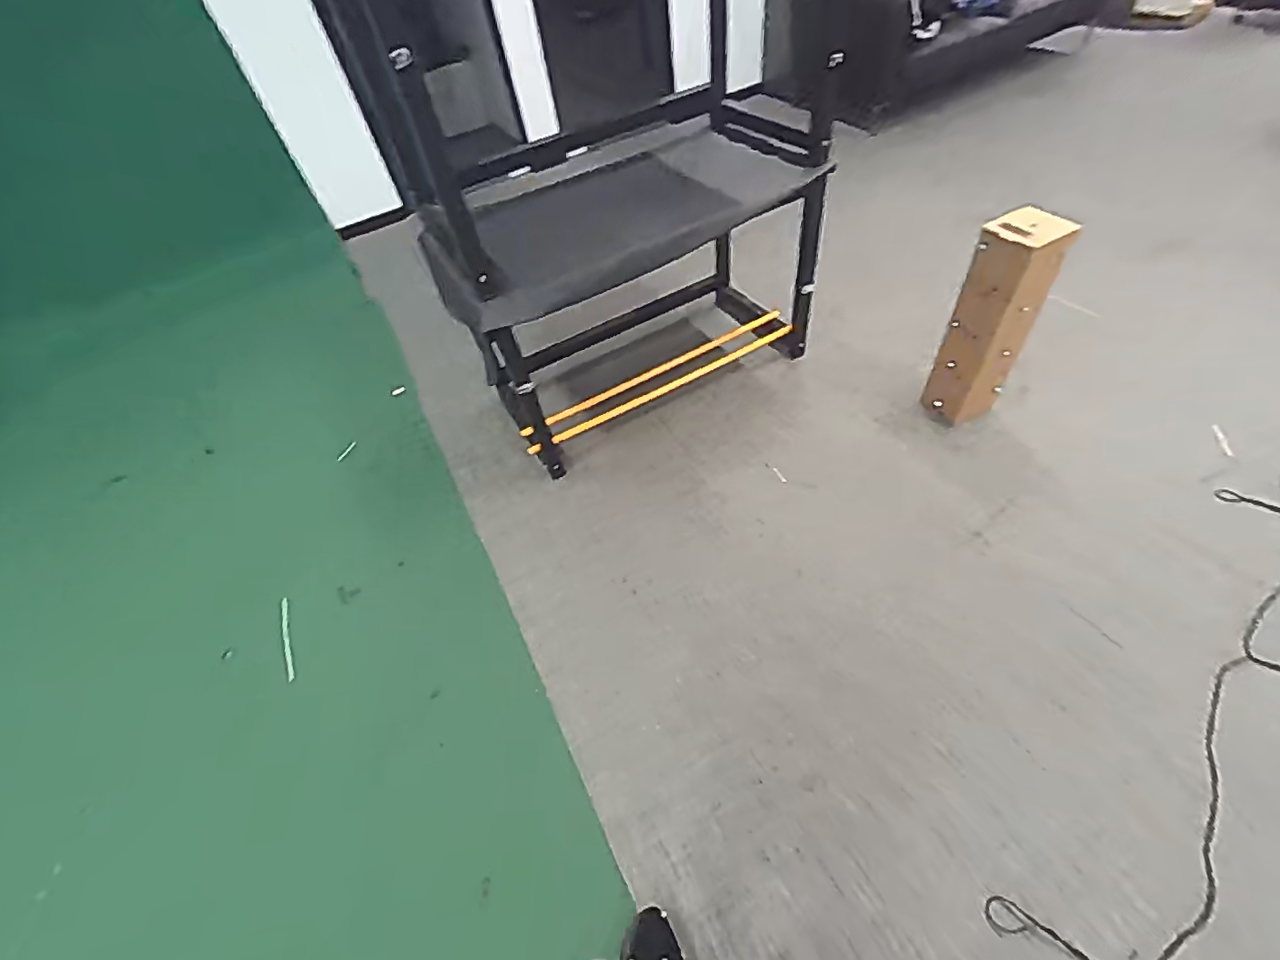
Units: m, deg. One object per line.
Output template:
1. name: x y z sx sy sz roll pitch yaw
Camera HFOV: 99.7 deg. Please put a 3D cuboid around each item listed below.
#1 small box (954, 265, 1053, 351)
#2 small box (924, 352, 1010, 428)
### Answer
1. small box: 1.100 -0.523 1.658 0.179 0.176 0.168 -24 51 -11
2. small box: 1.143 -0.315 1.905 0.179 0.176 0.168 -23 50 -9
